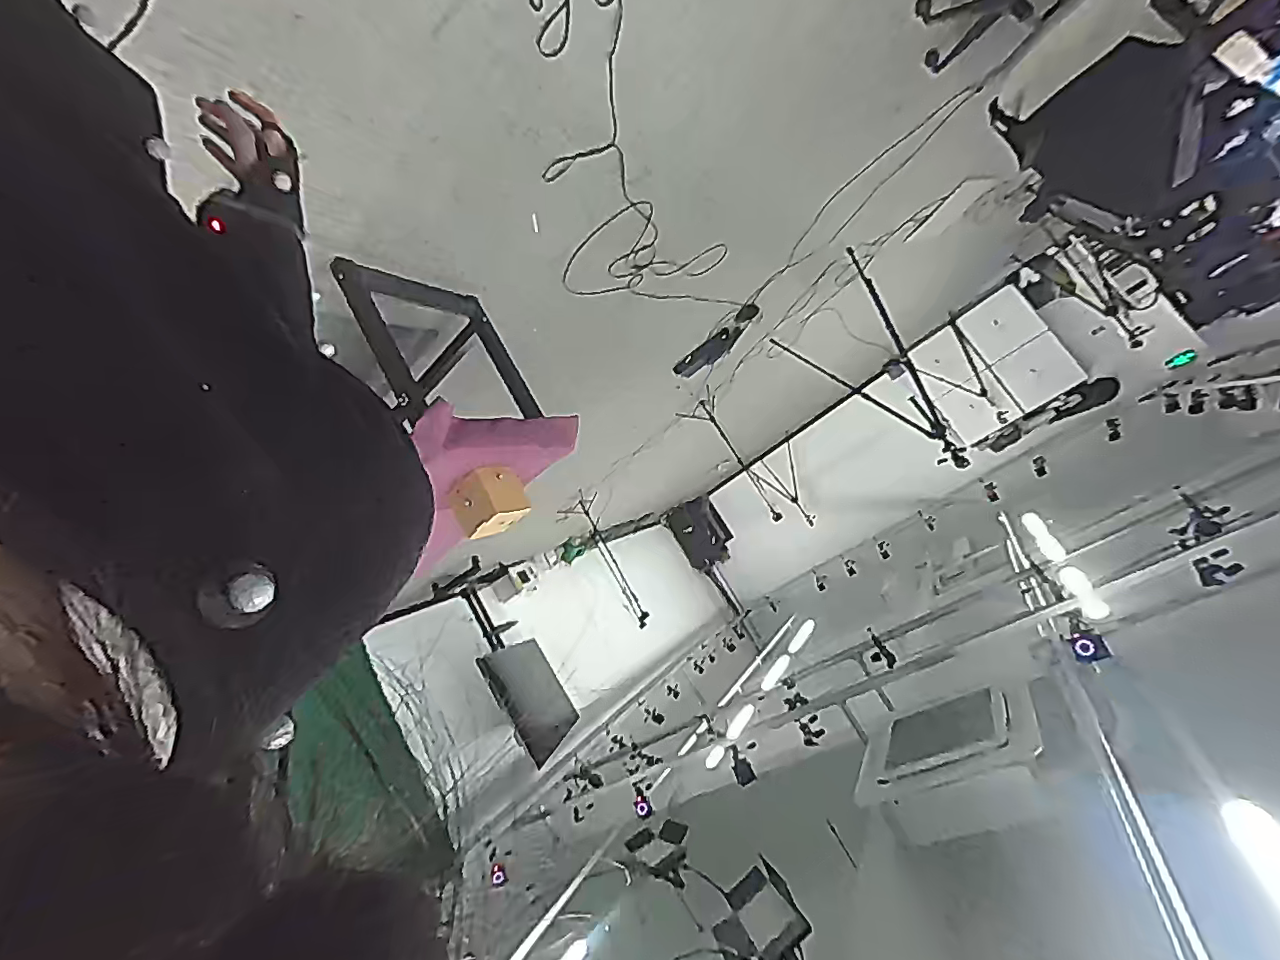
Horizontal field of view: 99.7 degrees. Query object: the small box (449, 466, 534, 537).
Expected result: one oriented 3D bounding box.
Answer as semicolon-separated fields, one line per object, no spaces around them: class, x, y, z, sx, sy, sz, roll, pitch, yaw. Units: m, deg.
small box;-0.492;0.066;1.778;0.168;0.176;0.179;-36;167;25
